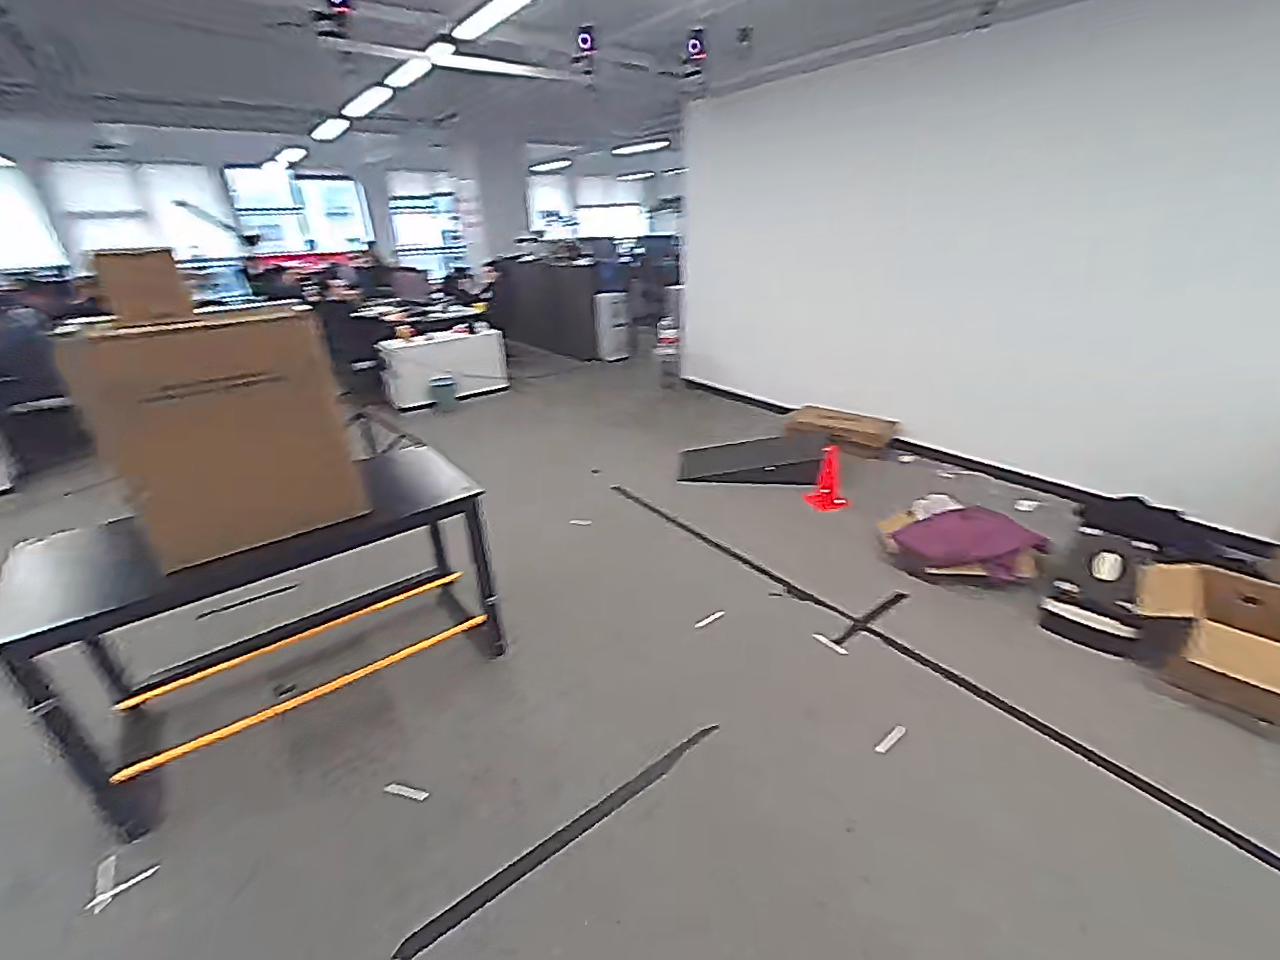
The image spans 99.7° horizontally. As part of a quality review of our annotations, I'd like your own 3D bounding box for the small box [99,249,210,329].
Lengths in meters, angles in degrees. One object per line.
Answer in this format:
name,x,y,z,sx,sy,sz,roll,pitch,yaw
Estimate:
small box,-1.222,-0.485,1.373,0.168,0.176,0.179,-18,33,-32
